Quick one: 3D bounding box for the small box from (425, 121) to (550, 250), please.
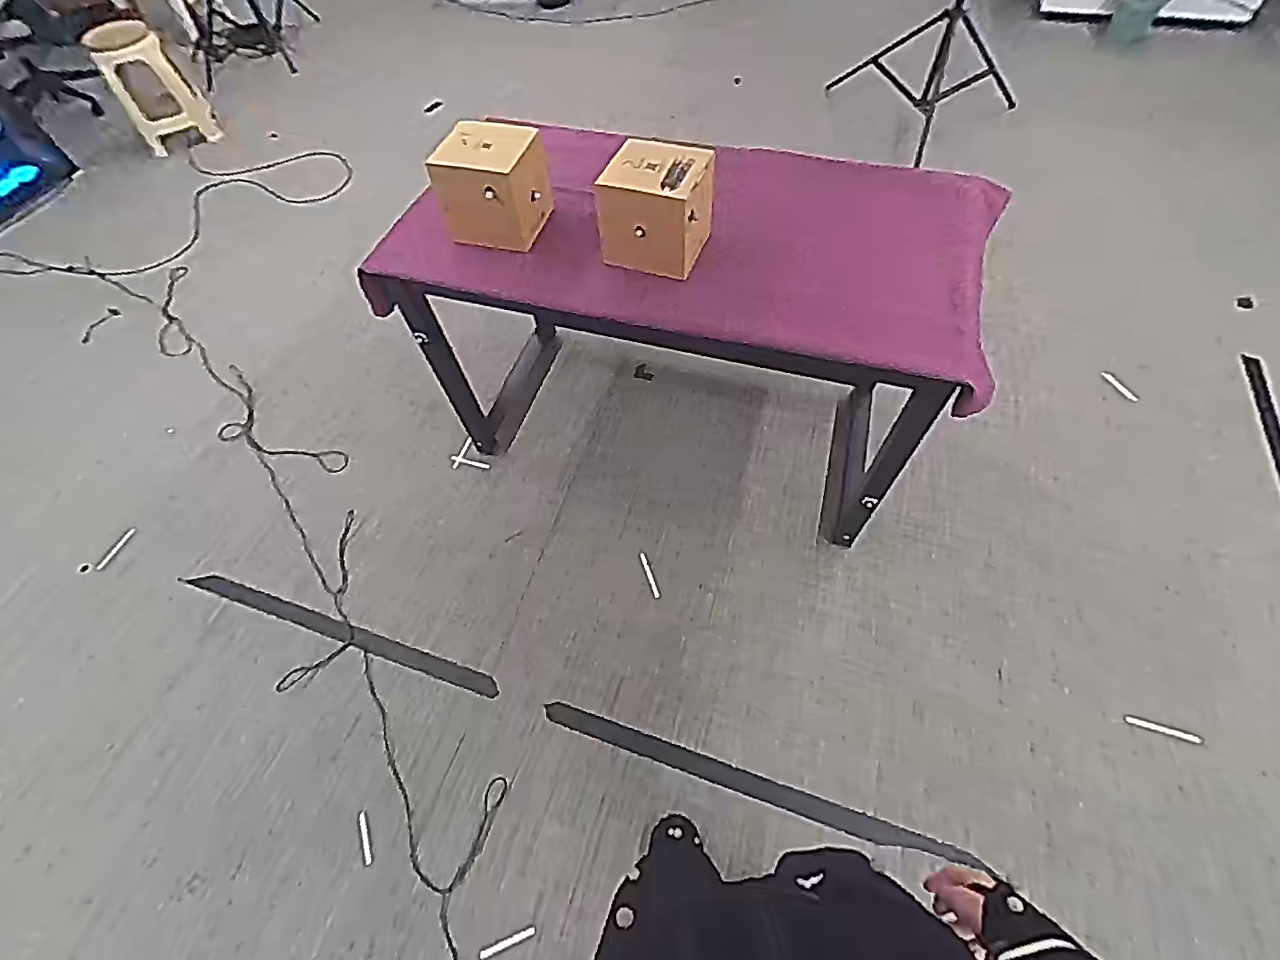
[{"bbox_3d":[-0.299,-0.600,1.111,0.179,0.176,0.168,12,59,10],"label":"small box"}]
